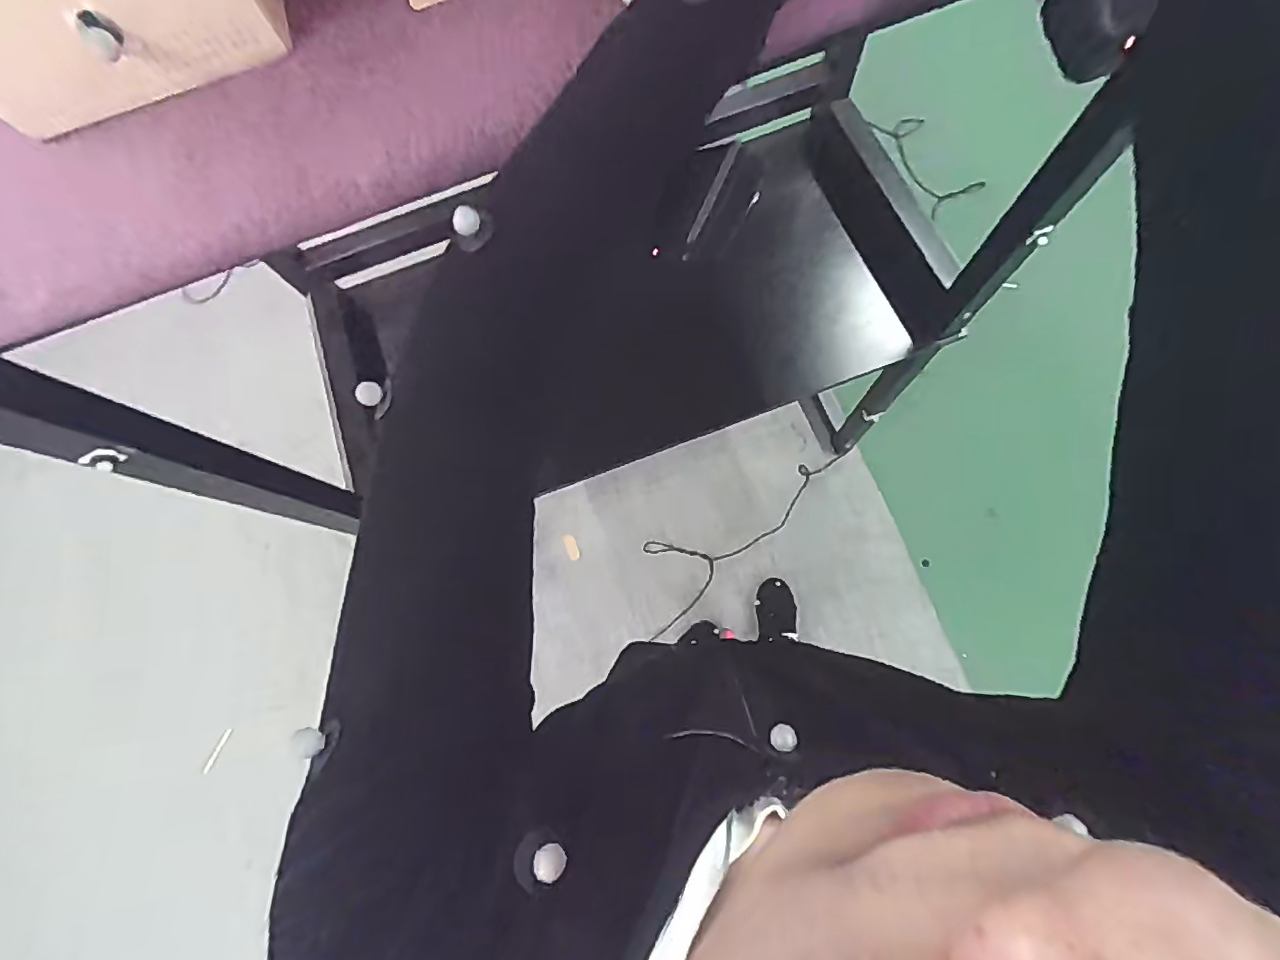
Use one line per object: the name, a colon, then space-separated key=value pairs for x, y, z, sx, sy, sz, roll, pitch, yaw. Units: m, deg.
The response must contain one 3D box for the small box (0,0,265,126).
small box: x=-0.338 y=-0.340 z=0.288 sx=0.179 sy=0.176 sz=0.168 roll=-20 pitch=74 yaw=-1
